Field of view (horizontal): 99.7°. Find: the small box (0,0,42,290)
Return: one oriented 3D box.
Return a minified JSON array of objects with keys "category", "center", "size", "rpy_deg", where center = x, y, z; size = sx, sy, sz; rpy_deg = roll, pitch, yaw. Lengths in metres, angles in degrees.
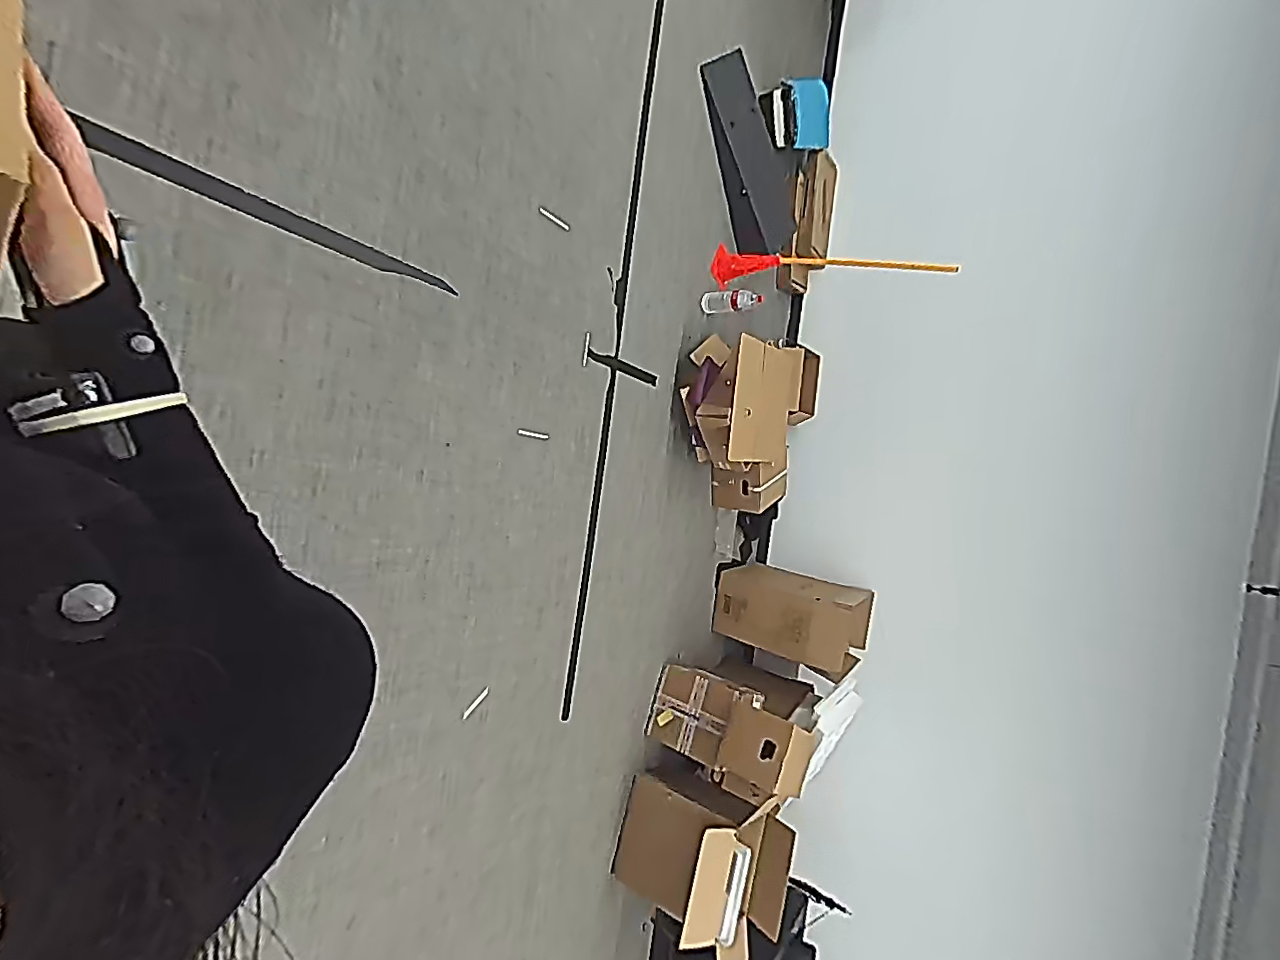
[{"category":"small box","center":[-0.419,-0.206,0.253],"size":[0.168,0.176,0.179],"rpy_deg":[0,78,-56]}]
